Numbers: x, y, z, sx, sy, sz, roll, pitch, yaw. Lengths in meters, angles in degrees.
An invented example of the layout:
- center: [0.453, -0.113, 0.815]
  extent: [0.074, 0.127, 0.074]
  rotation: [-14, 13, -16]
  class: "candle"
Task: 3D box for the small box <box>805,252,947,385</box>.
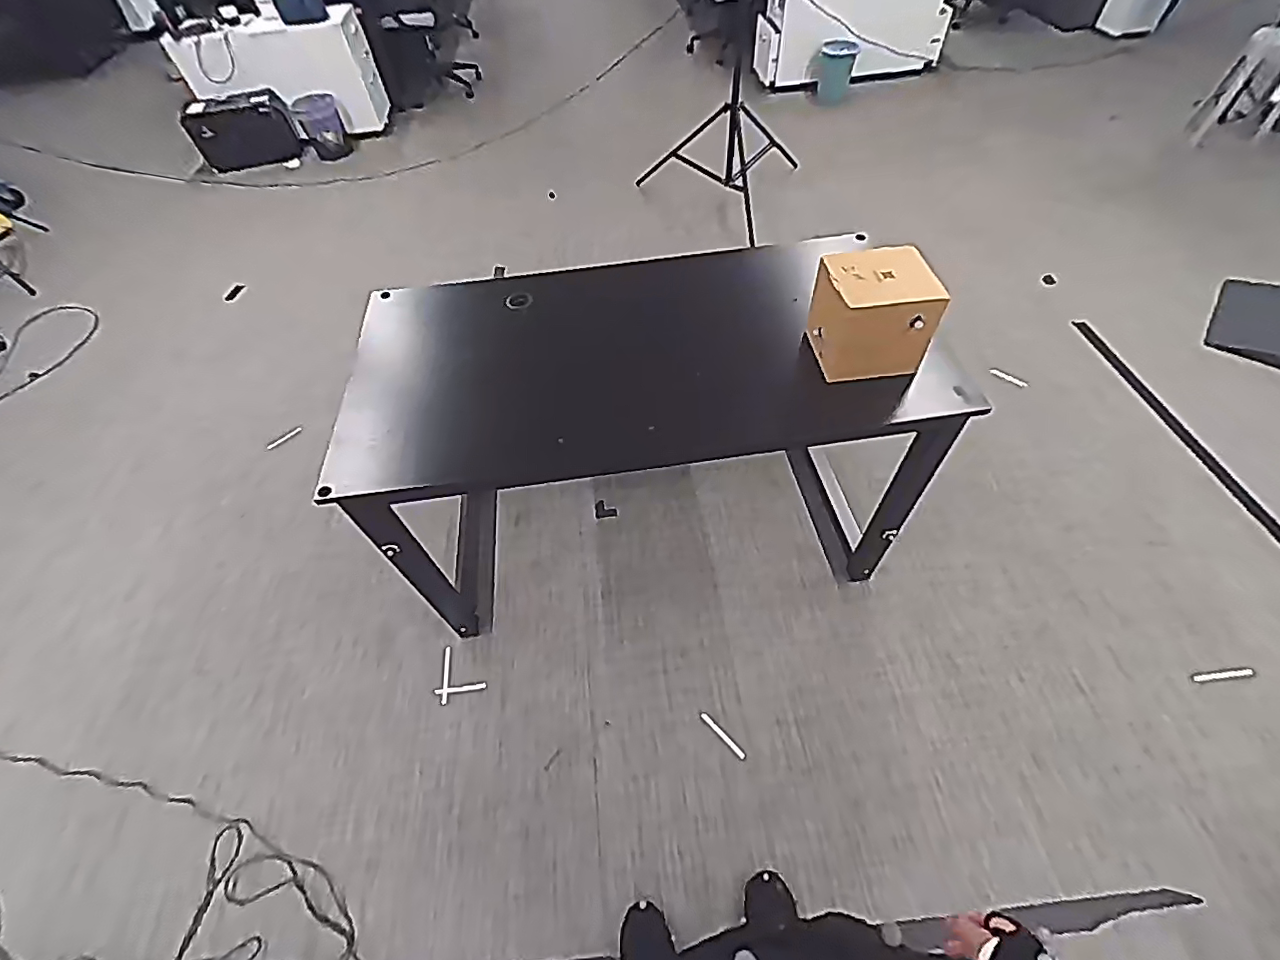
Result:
- center: [0.427, -0.299, 1.013]
  extent: [0.179, 0.176, 0.168]
  rotation: [-6, 52, 0]
  class: "small box"
